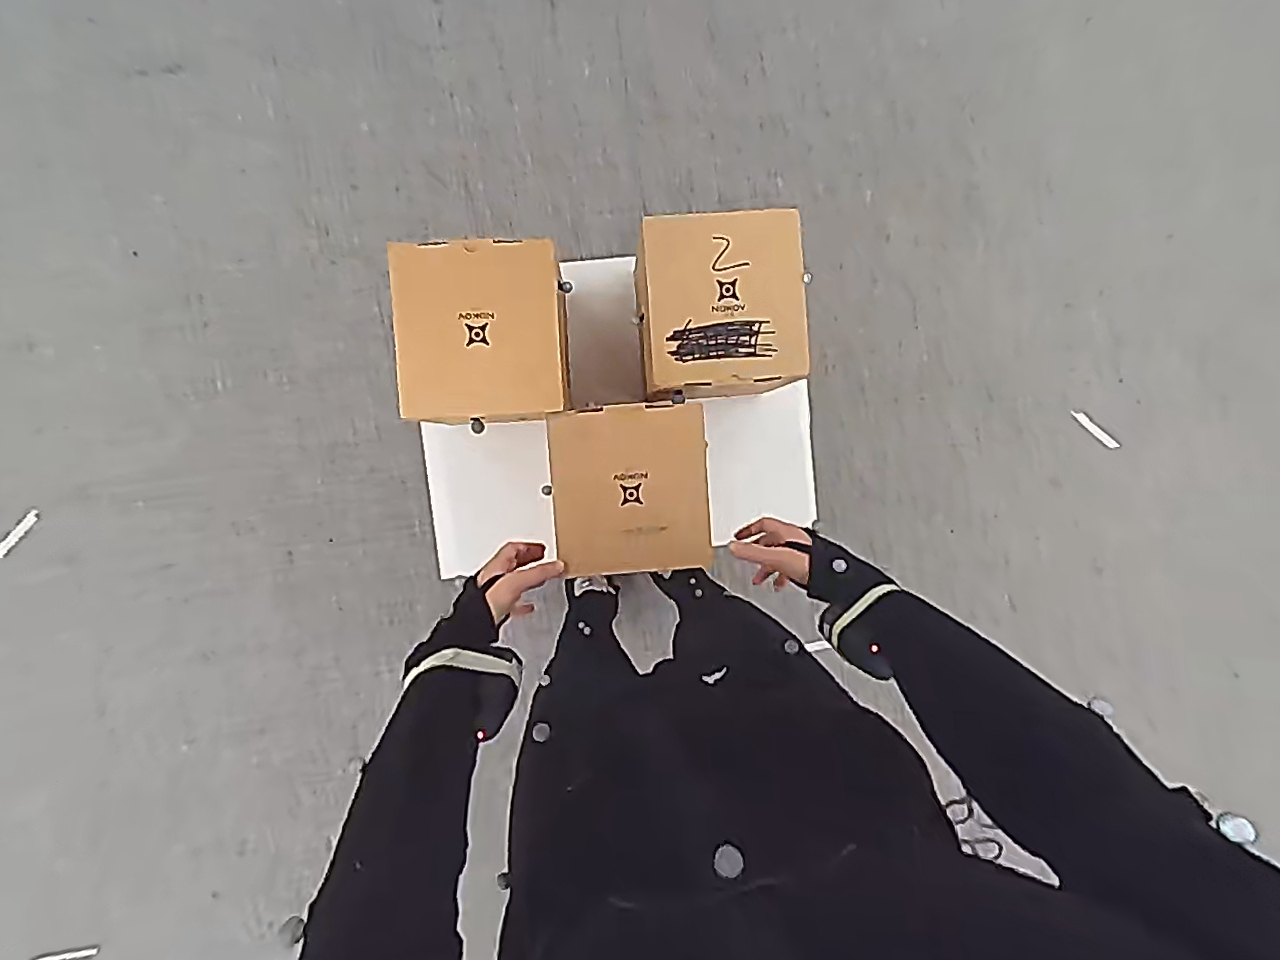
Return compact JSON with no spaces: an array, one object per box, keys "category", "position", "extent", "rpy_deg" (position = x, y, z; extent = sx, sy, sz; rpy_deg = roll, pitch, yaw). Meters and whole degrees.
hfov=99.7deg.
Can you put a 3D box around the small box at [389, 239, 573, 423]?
[{"category":"small box","position":[-0.167,-0.156,0.622],"extent":[0.168,0.176,0.179],"rpy_deg":[-4,93,-4]}]
